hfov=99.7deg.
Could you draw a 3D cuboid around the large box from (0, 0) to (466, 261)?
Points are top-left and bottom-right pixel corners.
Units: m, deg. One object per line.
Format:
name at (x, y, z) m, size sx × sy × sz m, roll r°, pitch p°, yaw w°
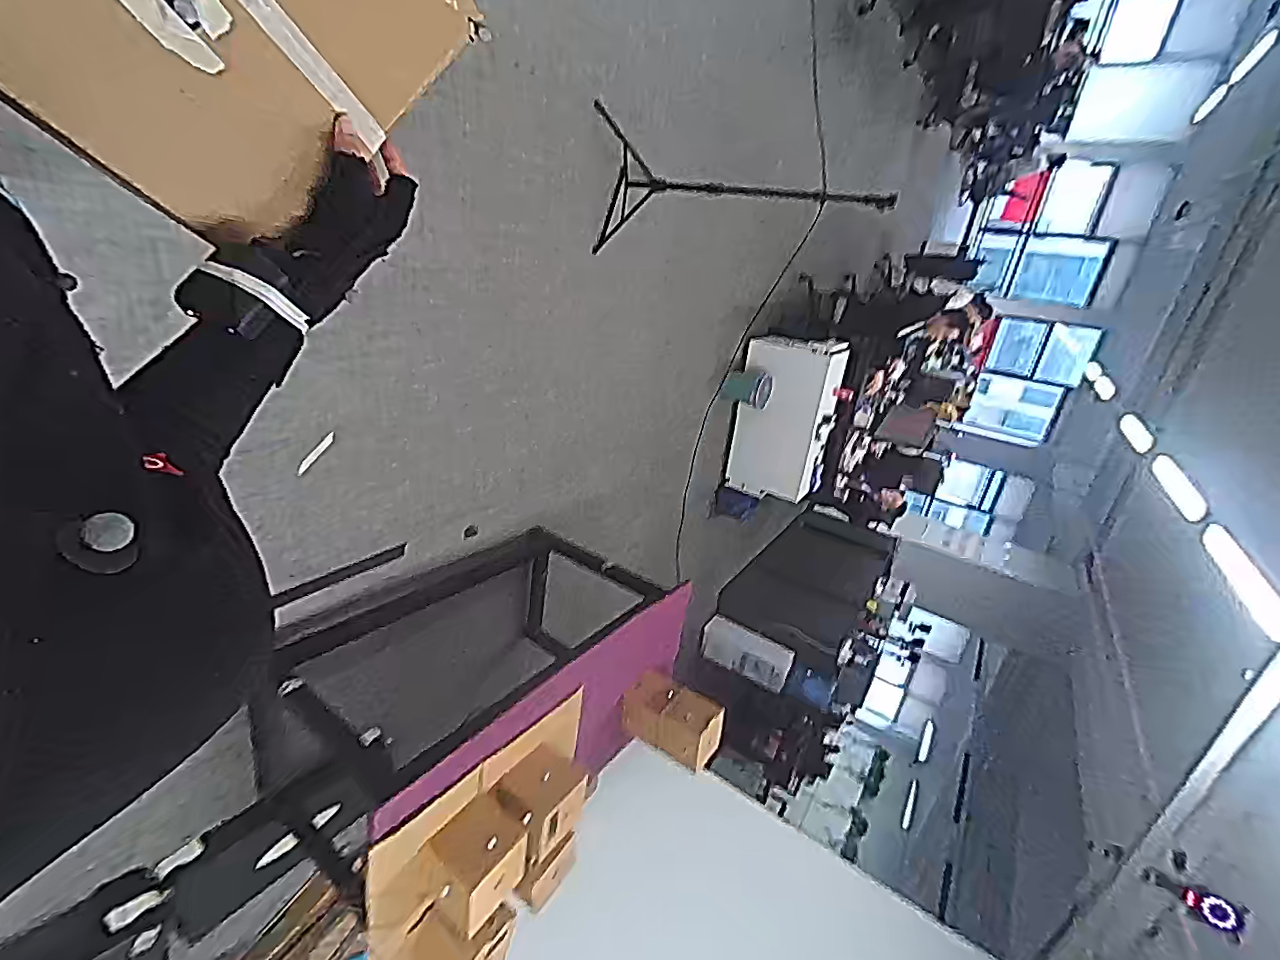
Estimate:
large box at (-0.428, -0.448, 0.391) m, size 0.320 × 0.320 × 0.408 m, roll -55°, pitch 151°, yaw -6°
